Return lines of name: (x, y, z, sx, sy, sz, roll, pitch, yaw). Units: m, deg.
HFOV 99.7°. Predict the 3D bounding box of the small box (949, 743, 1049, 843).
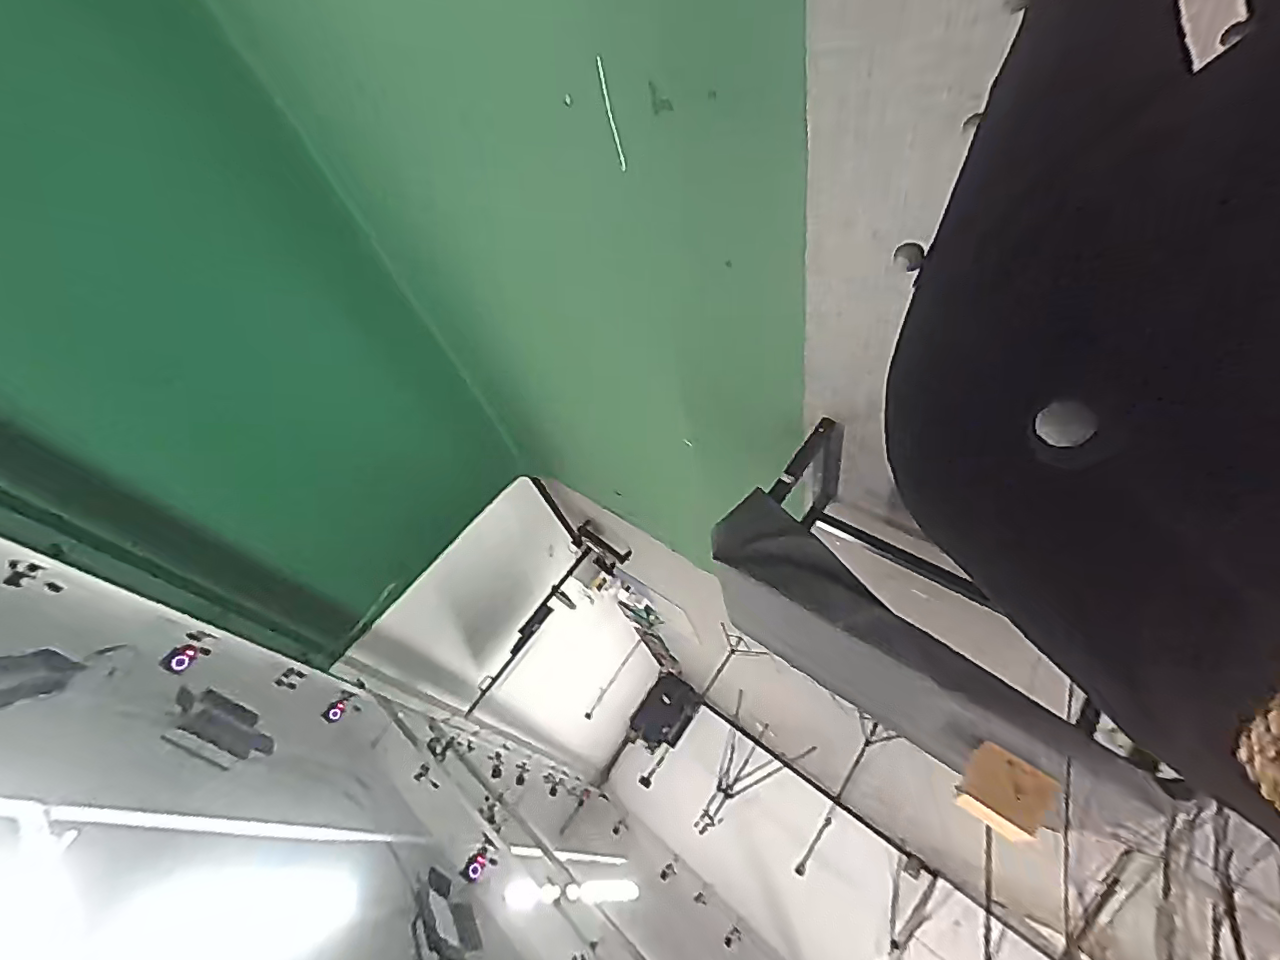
small box: (0.980, 0.850, 1.476, 0.168, 0.176, 0.179, 27, 157, 32)
